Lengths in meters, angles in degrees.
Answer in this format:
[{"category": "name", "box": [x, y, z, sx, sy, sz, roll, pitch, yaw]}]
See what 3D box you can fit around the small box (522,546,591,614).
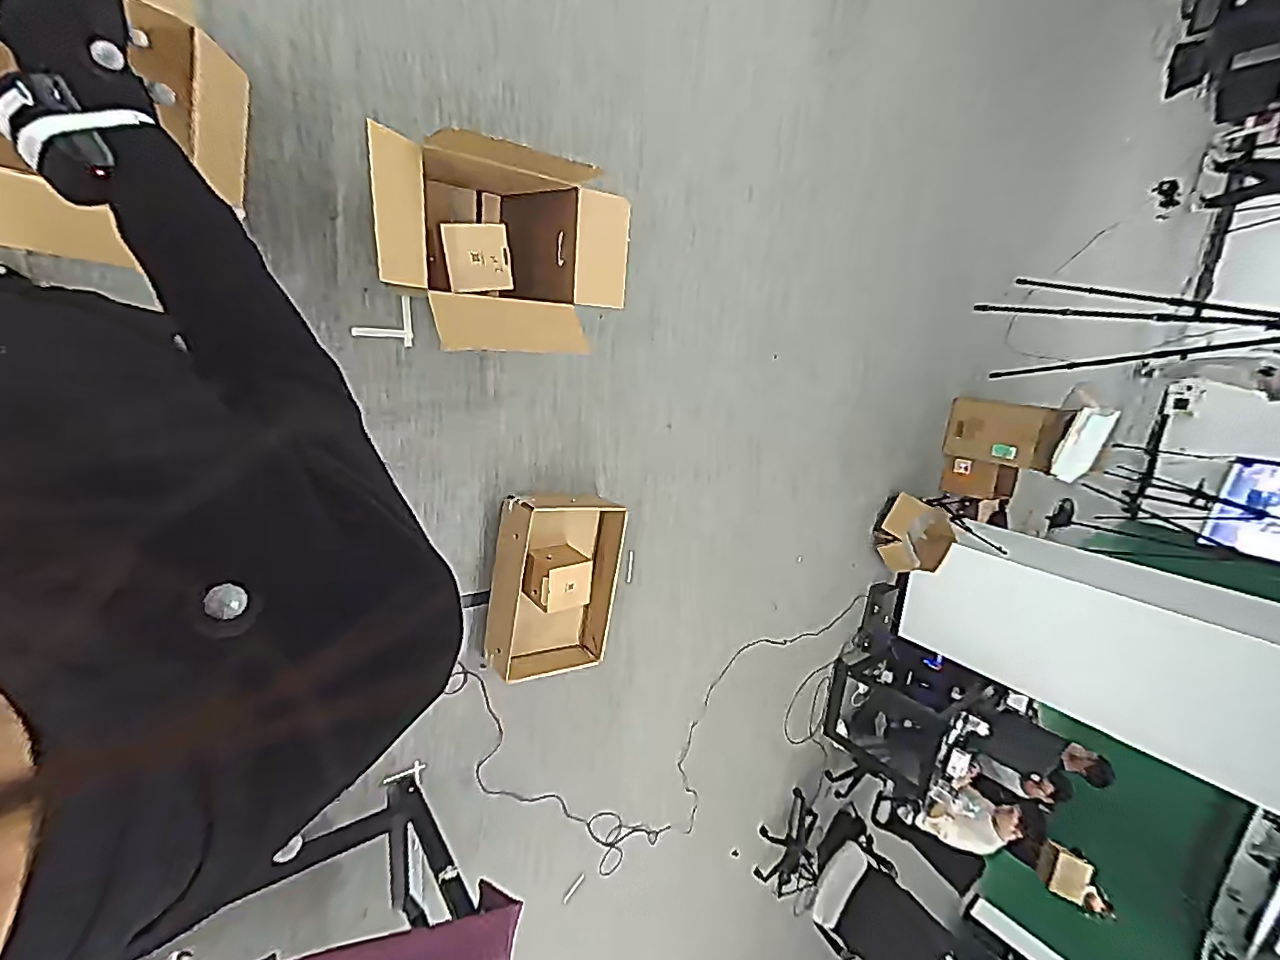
[{"category": "small box", "box": [-0.295, 0.343, 1.884, 0.179, 0.176, 0.168, -5, 108, -39]}]
